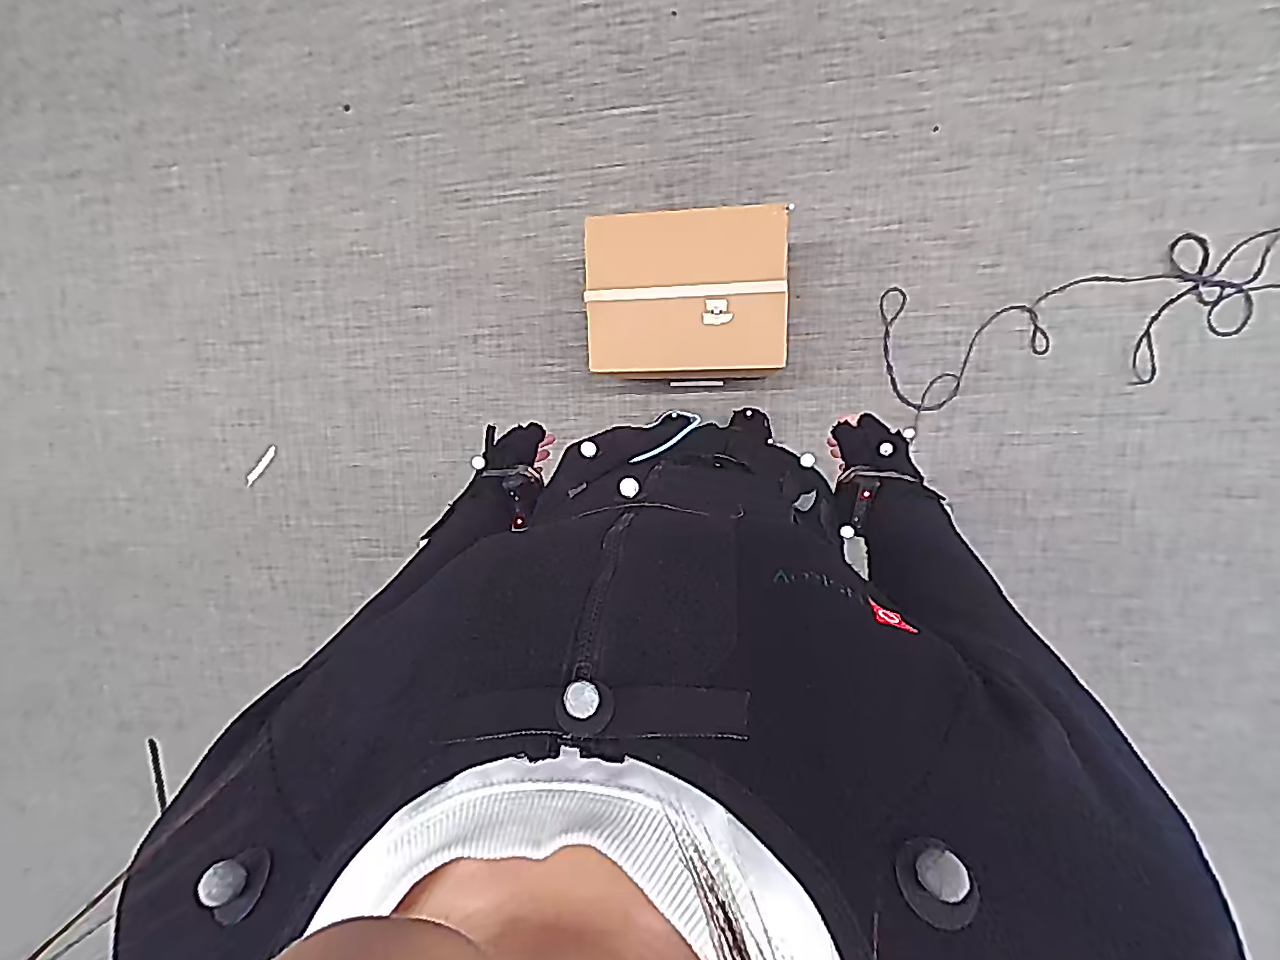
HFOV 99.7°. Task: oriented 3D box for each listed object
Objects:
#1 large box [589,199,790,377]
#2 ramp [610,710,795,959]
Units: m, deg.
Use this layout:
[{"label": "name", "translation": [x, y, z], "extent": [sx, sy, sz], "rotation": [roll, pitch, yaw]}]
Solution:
[{"label": "large box", "translation": [0.116, -0.407, 1.234], "extent": [0.408, 0.320, 0.320], "rotation": [0, 98, 8]}, {"label": "ramp", "translation": [0.164, 1.164, 1.495], "extent": [0.509, 0.206, 0.991], "rotation": [1, 97, 10]}]
